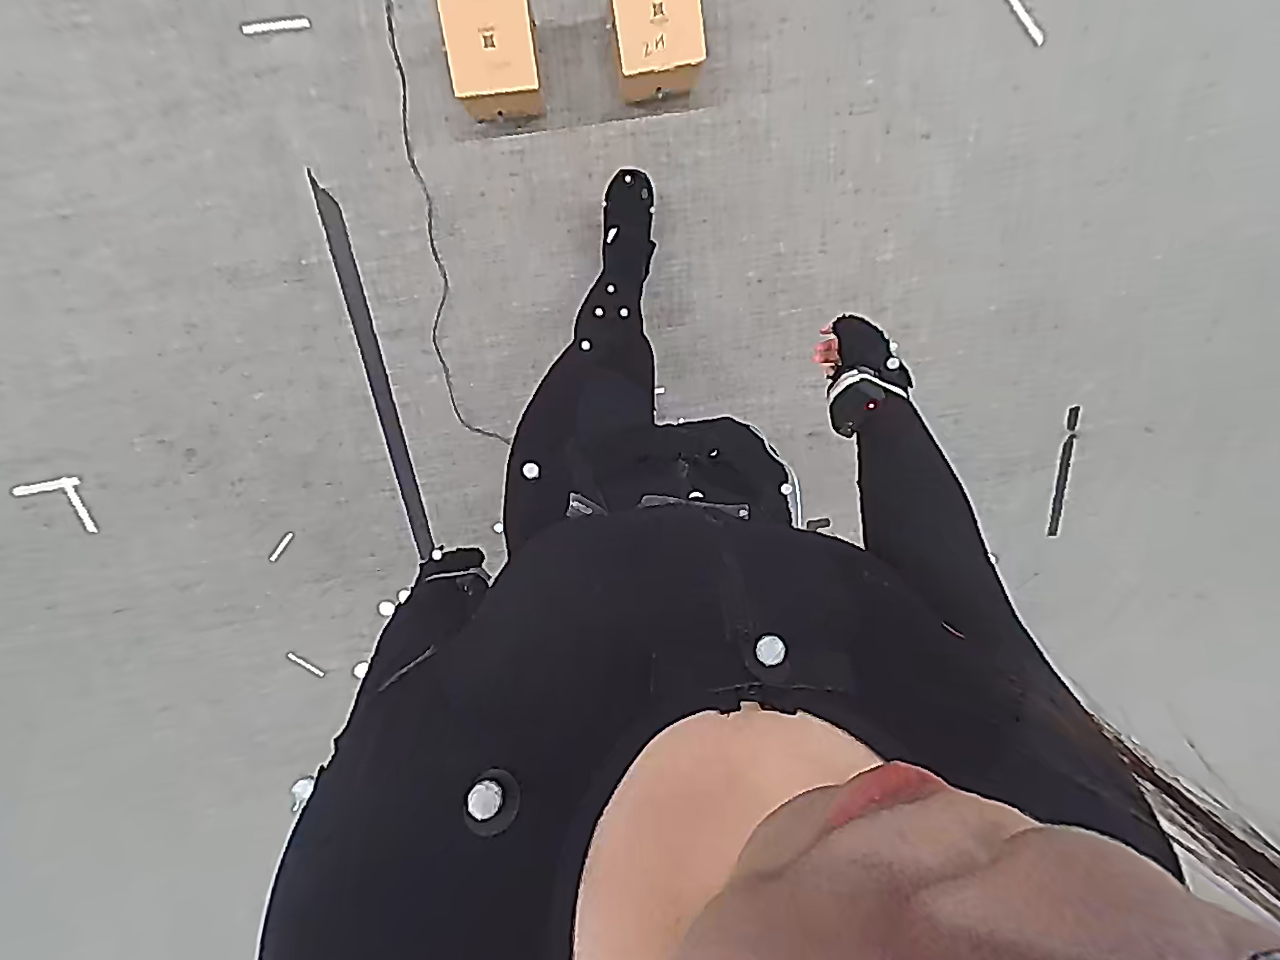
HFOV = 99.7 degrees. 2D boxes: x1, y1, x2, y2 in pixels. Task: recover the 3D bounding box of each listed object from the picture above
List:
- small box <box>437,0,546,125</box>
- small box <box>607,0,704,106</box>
[{"bbox_3d":[-0.291,-0.848,1.094,0.168,0.176,0.179,-6,111,-1],"label":"small box"},{"bbox_3d":[0.026,-0.897,1.096,0.168,0.176,0.179,-10,110,0],"label":"small box"}]
